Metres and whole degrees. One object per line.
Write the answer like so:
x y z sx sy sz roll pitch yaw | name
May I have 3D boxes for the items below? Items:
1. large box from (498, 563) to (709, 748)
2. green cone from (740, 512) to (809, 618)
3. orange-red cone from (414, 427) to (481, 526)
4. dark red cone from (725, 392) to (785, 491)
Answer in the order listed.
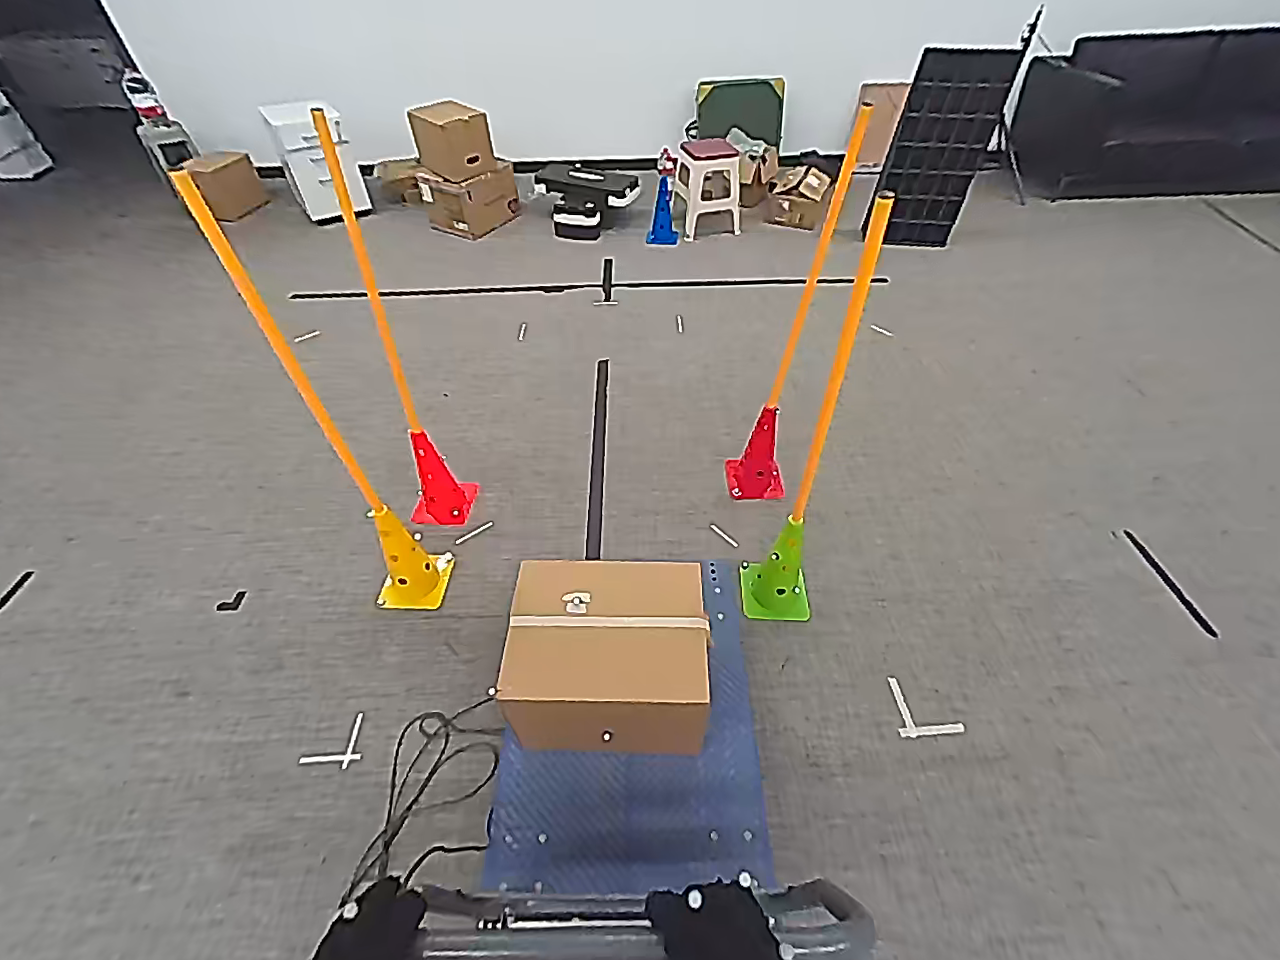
-0.064 0.402 1.223 0.408 0.320 0.320 0 47 2 | large box
0.422 0.225 1.579 0.202 0.368 0.200 2 47 1 | green cone
-0.697 -0.037 1.842 0.198 0.360 0.199 5 46 4 | orange-red cone
0.431 -0.142 1.897 0.201 0.394 0.202 0 47 -2 | dark red cone
